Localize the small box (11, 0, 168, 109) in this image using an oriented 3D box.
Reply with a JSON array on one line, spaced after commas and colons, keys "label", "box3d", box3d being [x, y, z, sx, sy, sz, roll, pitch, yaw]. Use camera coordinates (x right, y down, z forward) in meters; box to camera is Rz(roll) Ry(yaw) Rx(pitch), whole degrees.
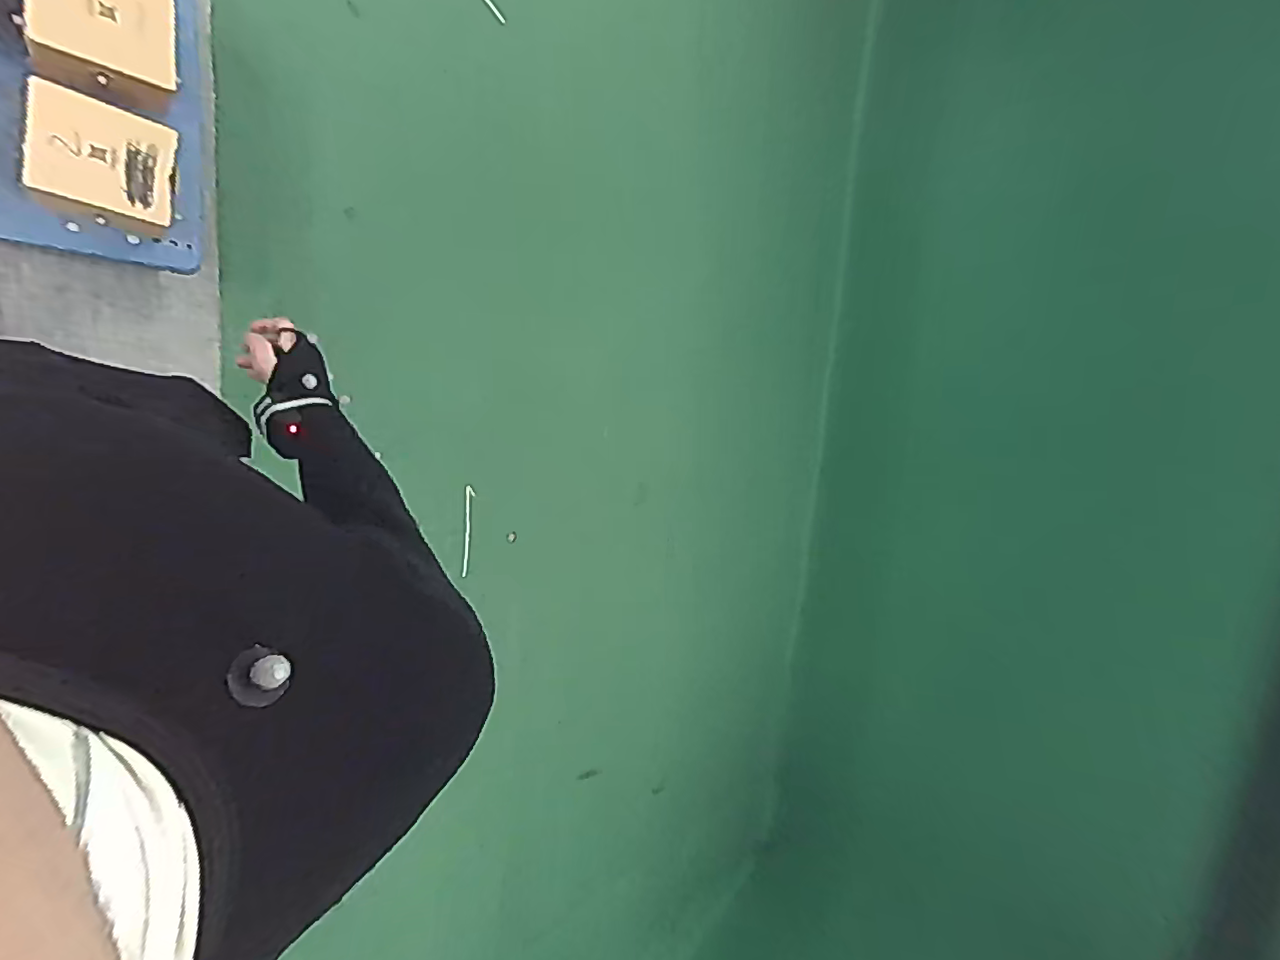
[{"label": "small box", "box3d": [-0.915, -0.764, 0.907, 0.179, 0.176, 0.168, -1, 101, -45]}]
